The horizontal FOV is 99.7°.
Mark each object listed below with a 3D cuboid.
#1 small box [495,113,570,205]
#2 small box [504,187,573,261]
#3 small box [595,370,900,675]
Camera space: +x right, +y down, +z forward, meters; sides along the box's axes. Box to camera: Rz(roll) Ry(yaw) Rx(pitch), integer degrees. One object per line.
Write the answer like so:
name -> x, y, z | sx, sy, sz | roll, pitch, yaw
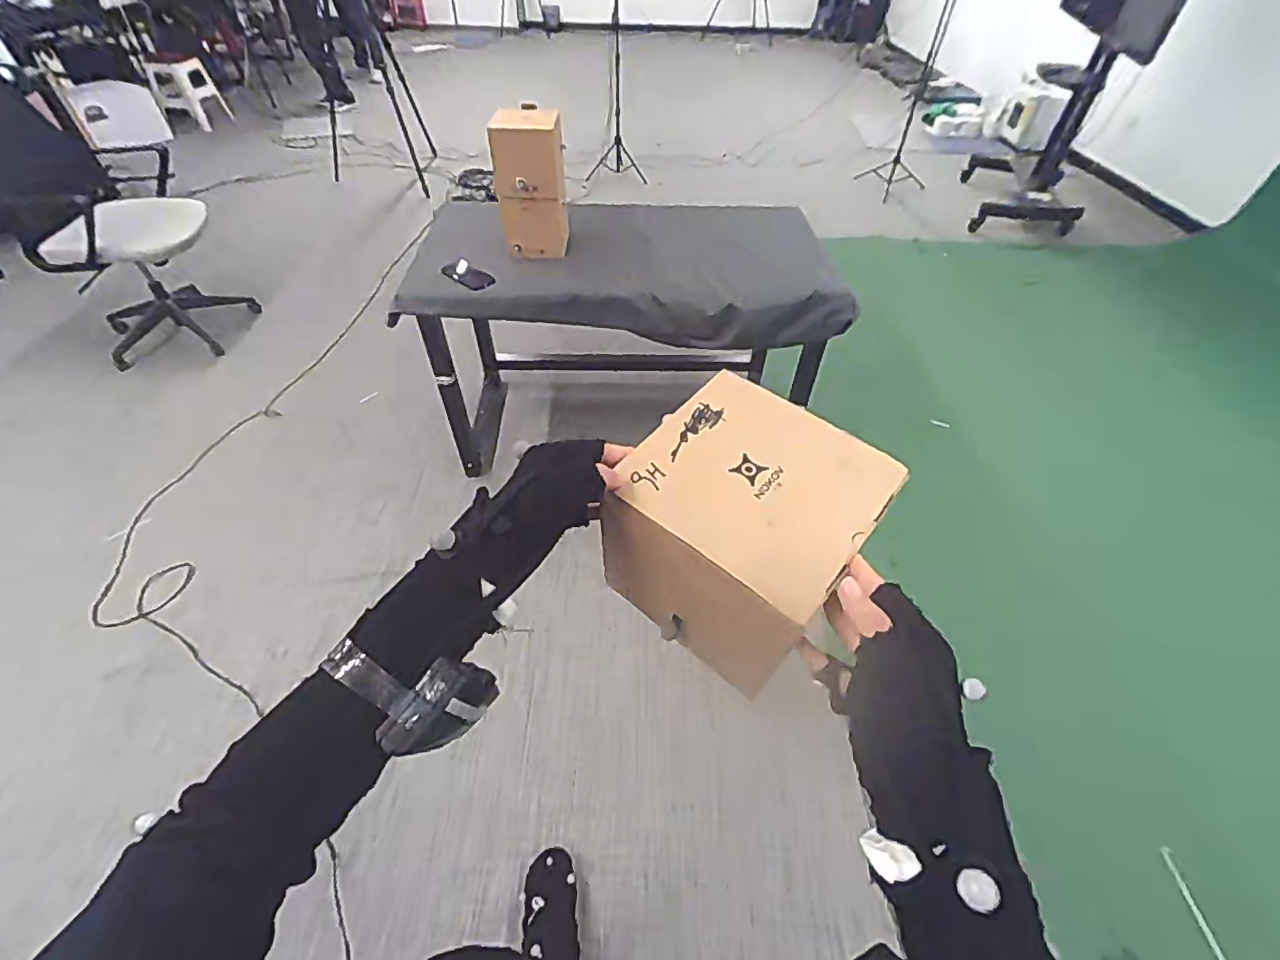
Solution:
small box -> -0.280, -0.860, 1.450 | 0.168, 0.176, 0.179 | 0, 48, -1
small box -> -0.286, -0.754, 1.572 | 0.168, 0.176, 0.179 | 2, 46, -1
small box -> 0.080, 0.044, 0.471 | 0.179, 0.176, 0.168 | 36, 59, 21
